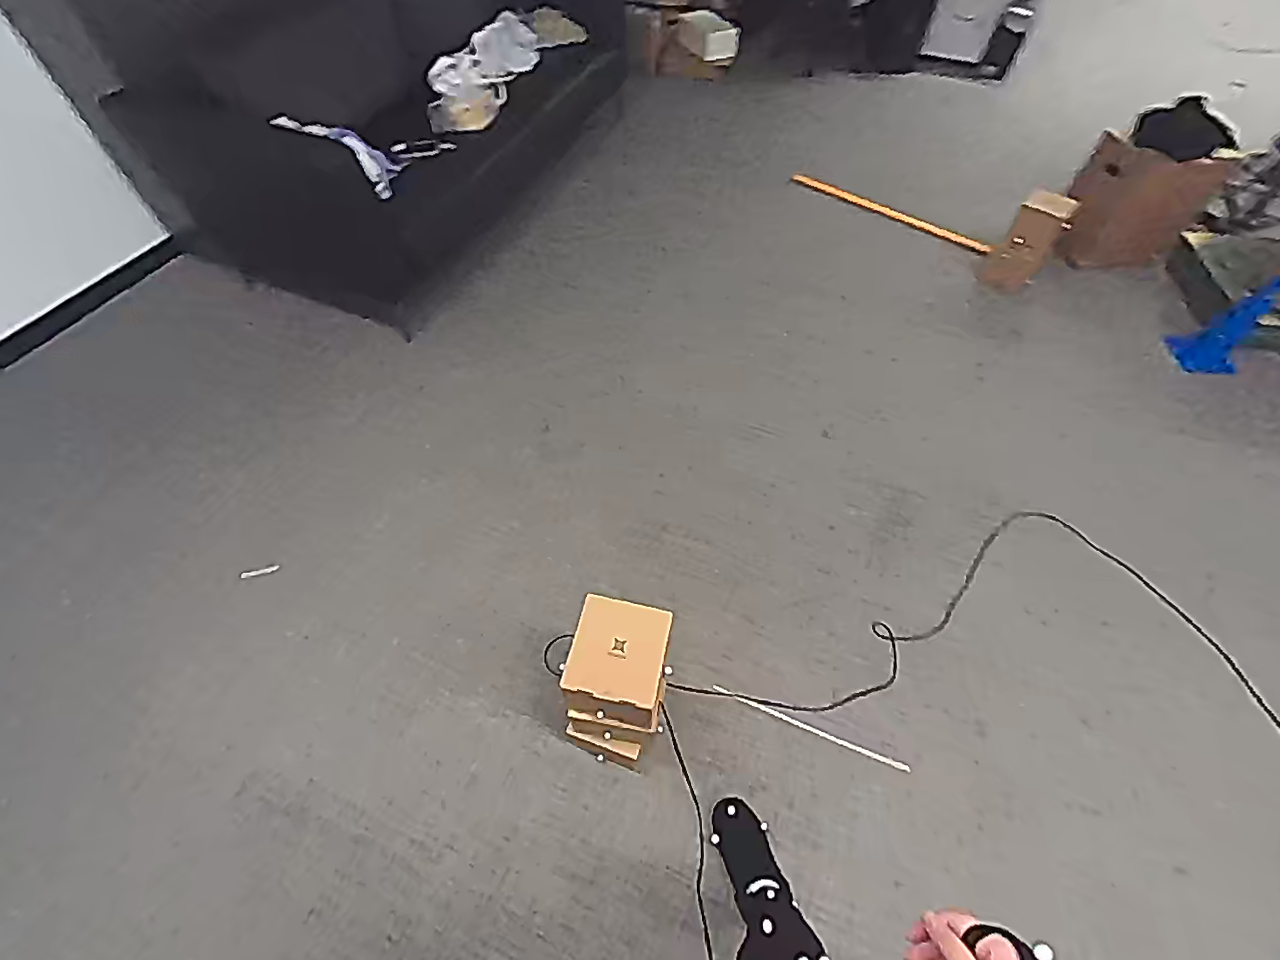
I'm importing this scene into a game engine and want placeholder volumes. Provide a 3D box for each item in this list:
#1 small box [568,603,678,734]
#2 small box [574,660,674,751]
[{"bbox_3d":[-0.027,0.360,1.027,0.168,0.176,0.179,10,56,8],"label":"small box"},{"bbox_3d":[-0.027,0.466,1.151,0.179,0.176,0.168,7,55,7],"label":"small box"}]
